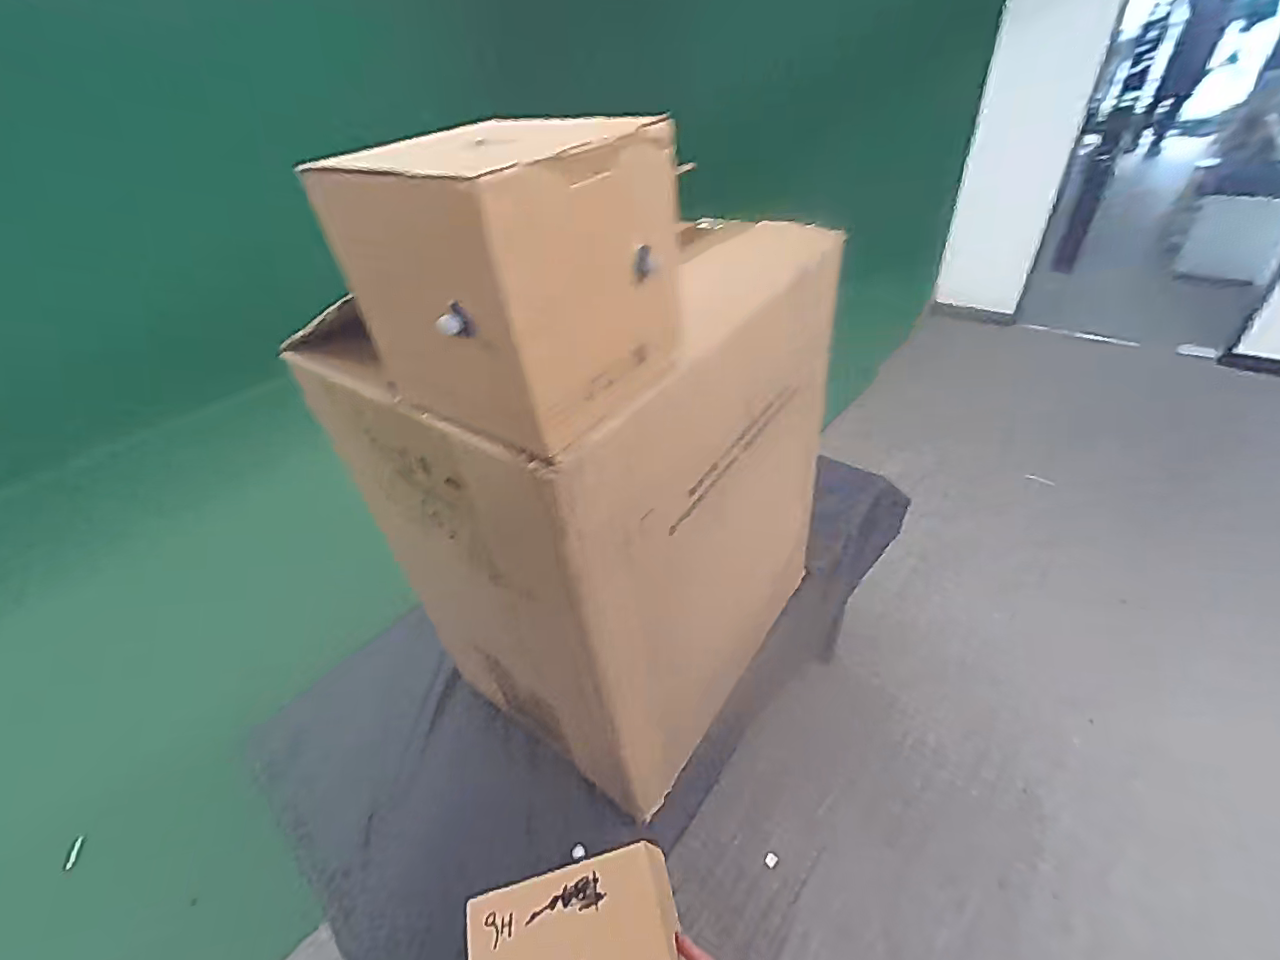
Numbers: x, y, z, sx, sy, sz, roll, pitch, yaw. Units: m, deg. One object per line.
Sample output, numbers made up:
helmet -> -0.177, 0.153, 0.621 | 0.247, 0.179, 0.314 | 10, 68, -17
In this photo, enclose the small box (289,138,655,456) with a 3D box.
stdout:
small box -> -0.104, -0.139, 0.404 | 0.179, 0.176, 0.168 | 21, 47, 32
